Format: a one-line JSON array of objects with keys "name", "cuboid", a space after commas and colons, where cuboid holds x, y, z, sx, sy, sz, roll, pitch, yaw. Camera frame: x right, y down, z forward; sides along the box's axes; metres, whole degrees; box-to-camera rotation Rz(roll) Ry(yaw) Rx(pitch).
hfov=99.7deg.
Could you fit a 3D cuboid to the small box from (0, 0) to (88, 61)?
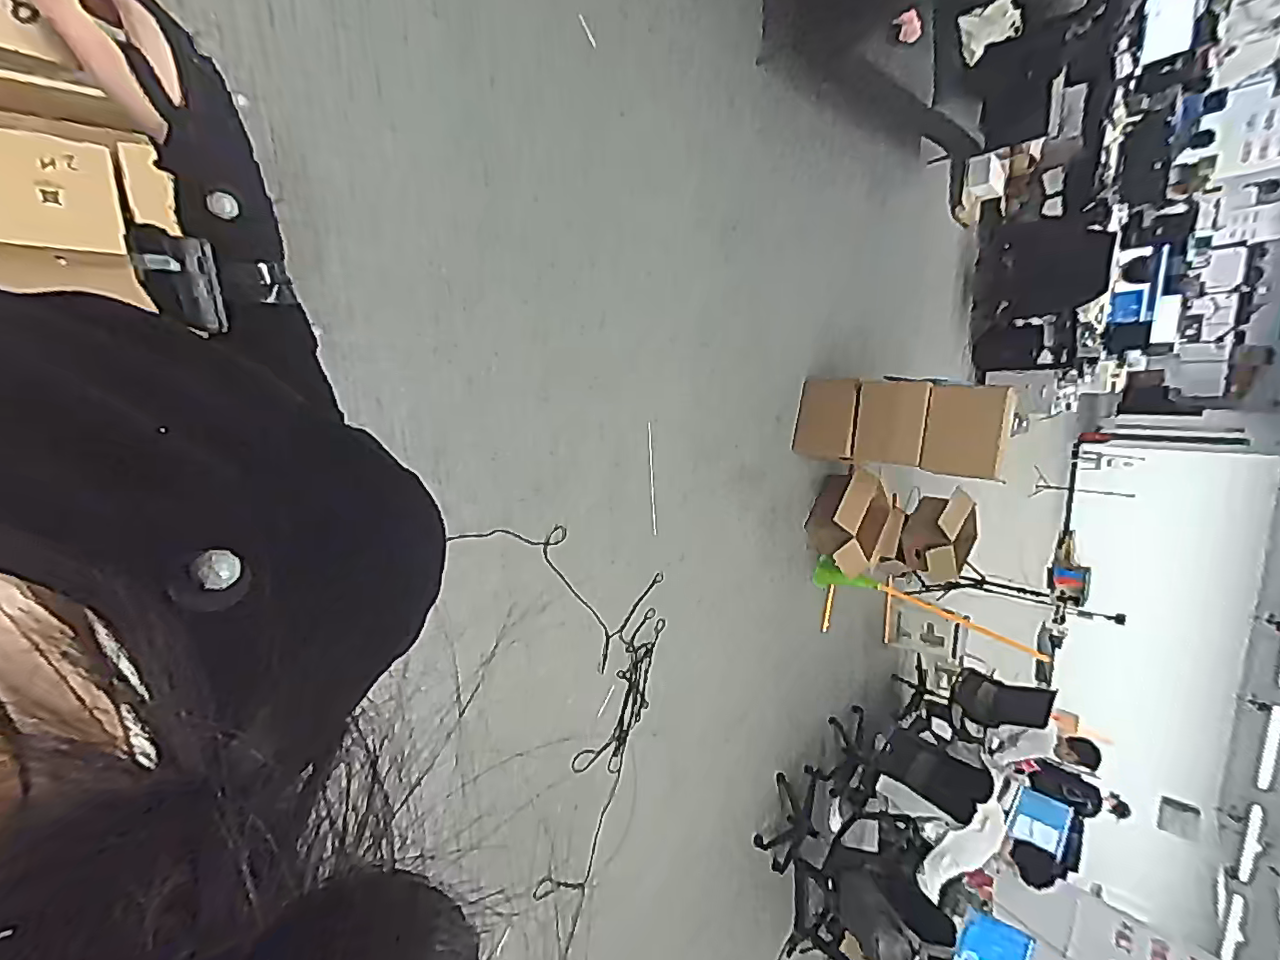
[{"name": "small box", "cuboid": [-0.401, -0.331, 0.252, 0.168, 0.176, 0.179, -14, 125, -48]}]
